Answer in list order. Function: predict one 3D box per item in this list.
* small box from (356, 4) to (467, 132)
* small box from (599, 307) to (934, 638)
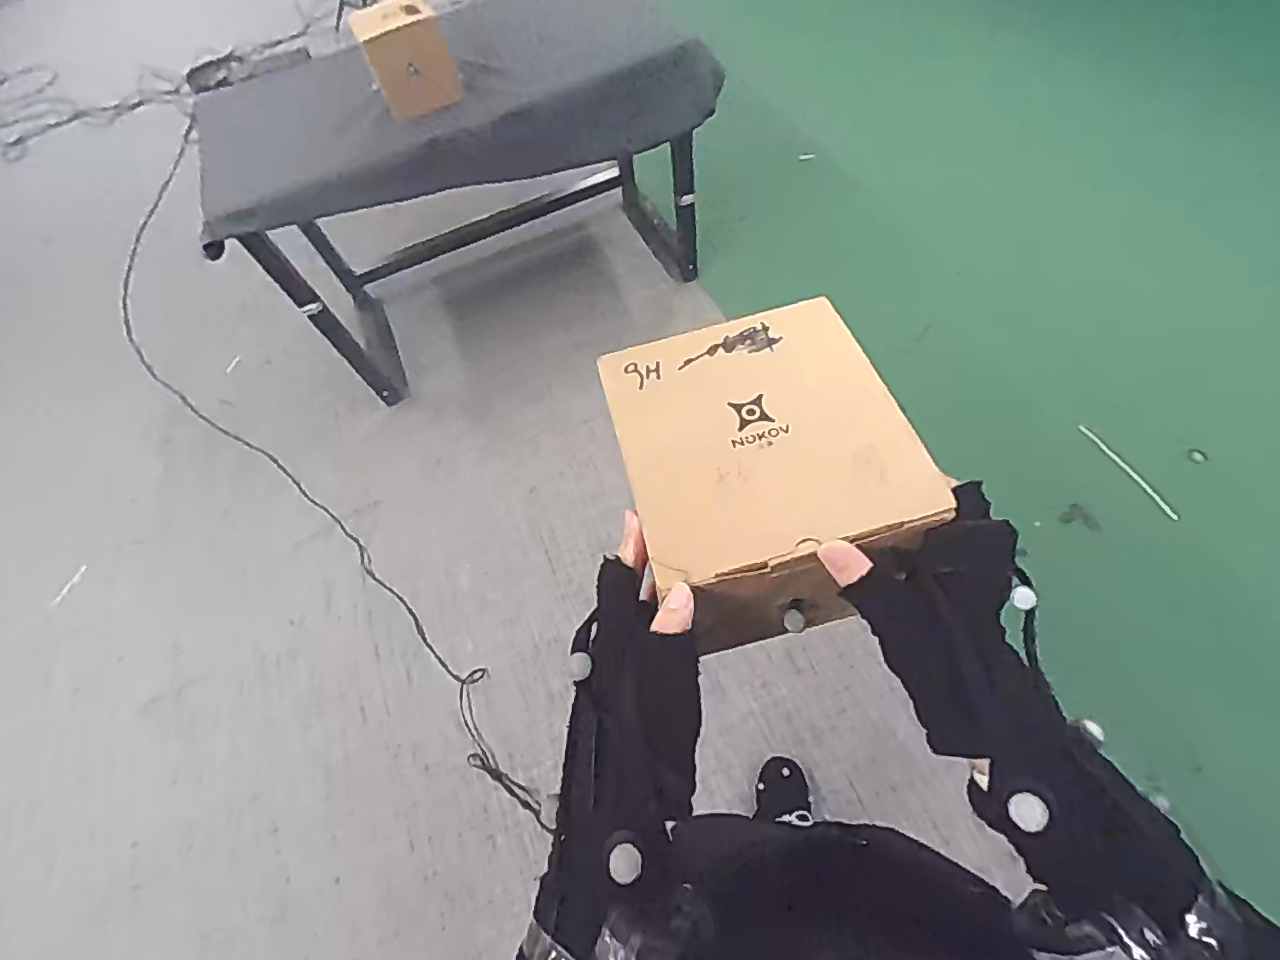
[{"bbox_3d":[-0.528,-0.969,1.277,0.179,0.176,0.168,-27,61,-6],"label":"small box"},{"bbox_3d":[0.078,0.008,0.410,0.168,0.176,0.179,-16,60,-1],"label":"small box"}]
